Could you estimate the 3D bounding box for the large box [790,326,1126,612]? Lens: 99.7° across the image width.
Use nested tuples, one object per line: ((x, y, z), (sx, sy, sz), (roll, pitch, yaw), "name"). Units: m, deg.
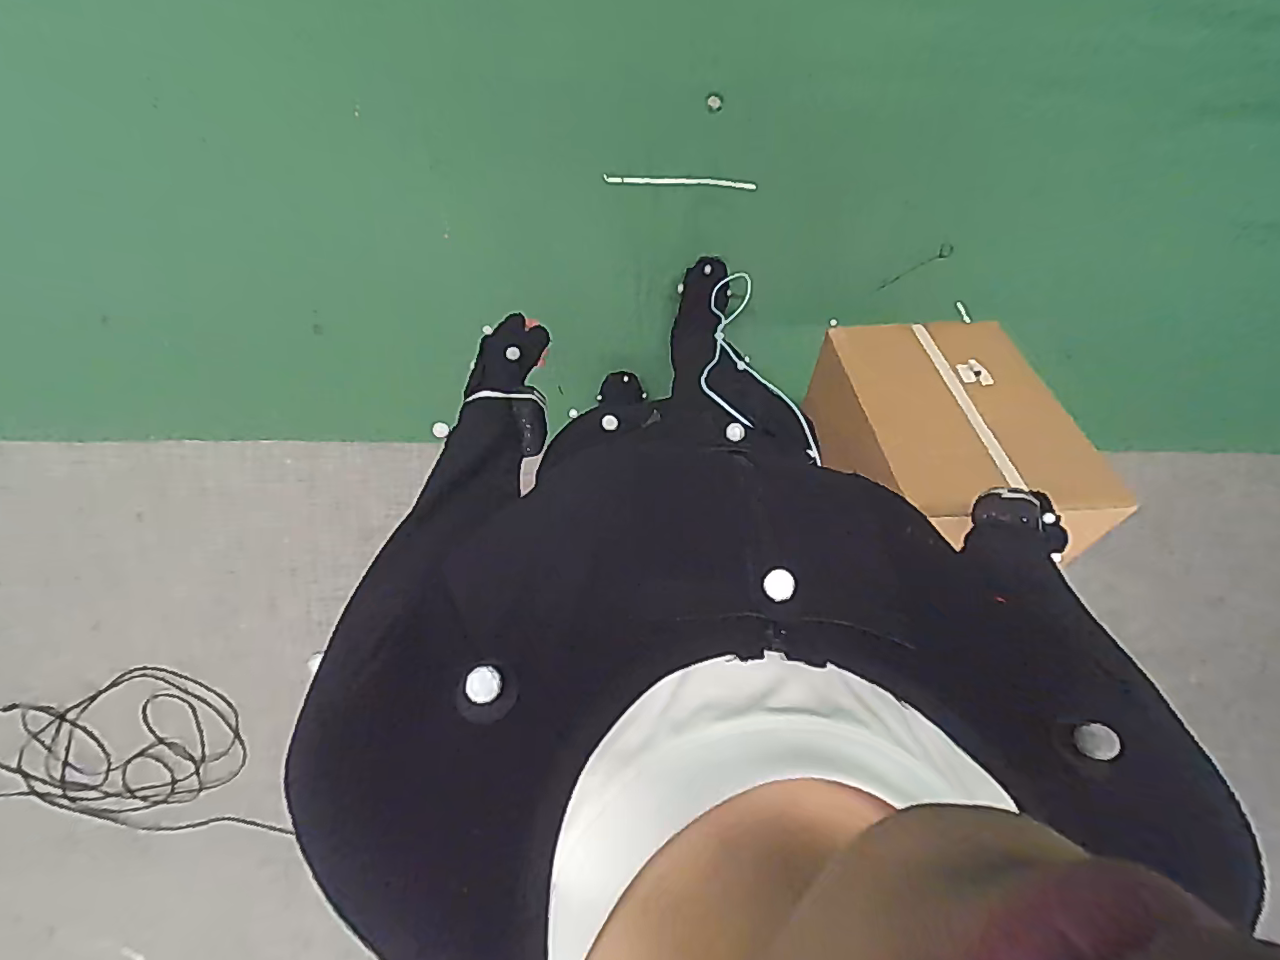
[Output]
((0.494, -0.022, 0.961), (0.320, 0.408, 0.320), (-2, 141, -4), "large box")
